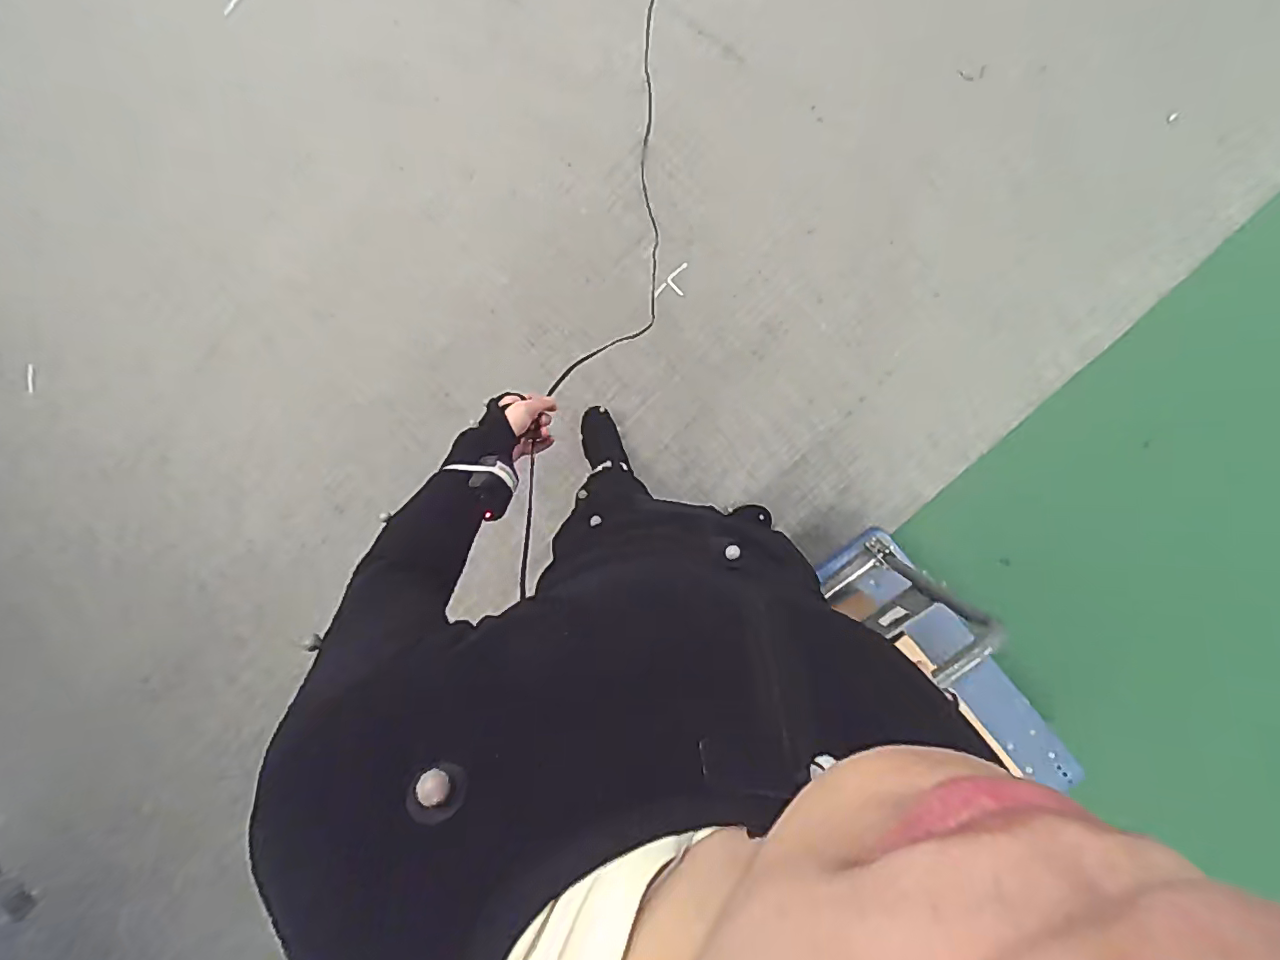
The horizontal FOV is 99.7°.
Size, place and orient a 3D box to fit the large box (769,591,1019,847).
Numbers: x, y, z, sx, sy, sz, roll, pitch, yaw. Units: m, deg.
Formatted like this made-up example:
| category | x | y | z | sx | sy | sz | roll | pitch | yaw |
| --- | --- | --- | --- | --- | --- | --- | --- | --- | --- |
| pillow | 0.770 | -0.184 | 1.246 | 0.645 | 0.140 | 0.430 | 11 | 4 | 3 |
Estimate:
| category | x | y | z | sx | sy | sz | roll | pitch | yaw |
| --- | --- | --- | --- | --- | --- | --- | --- | --- | --- |
| large box | 0.576 | 0.547 | 1.309 | 0.320 | 0.320 | 0.408 | -40 | 92 | 8 |
